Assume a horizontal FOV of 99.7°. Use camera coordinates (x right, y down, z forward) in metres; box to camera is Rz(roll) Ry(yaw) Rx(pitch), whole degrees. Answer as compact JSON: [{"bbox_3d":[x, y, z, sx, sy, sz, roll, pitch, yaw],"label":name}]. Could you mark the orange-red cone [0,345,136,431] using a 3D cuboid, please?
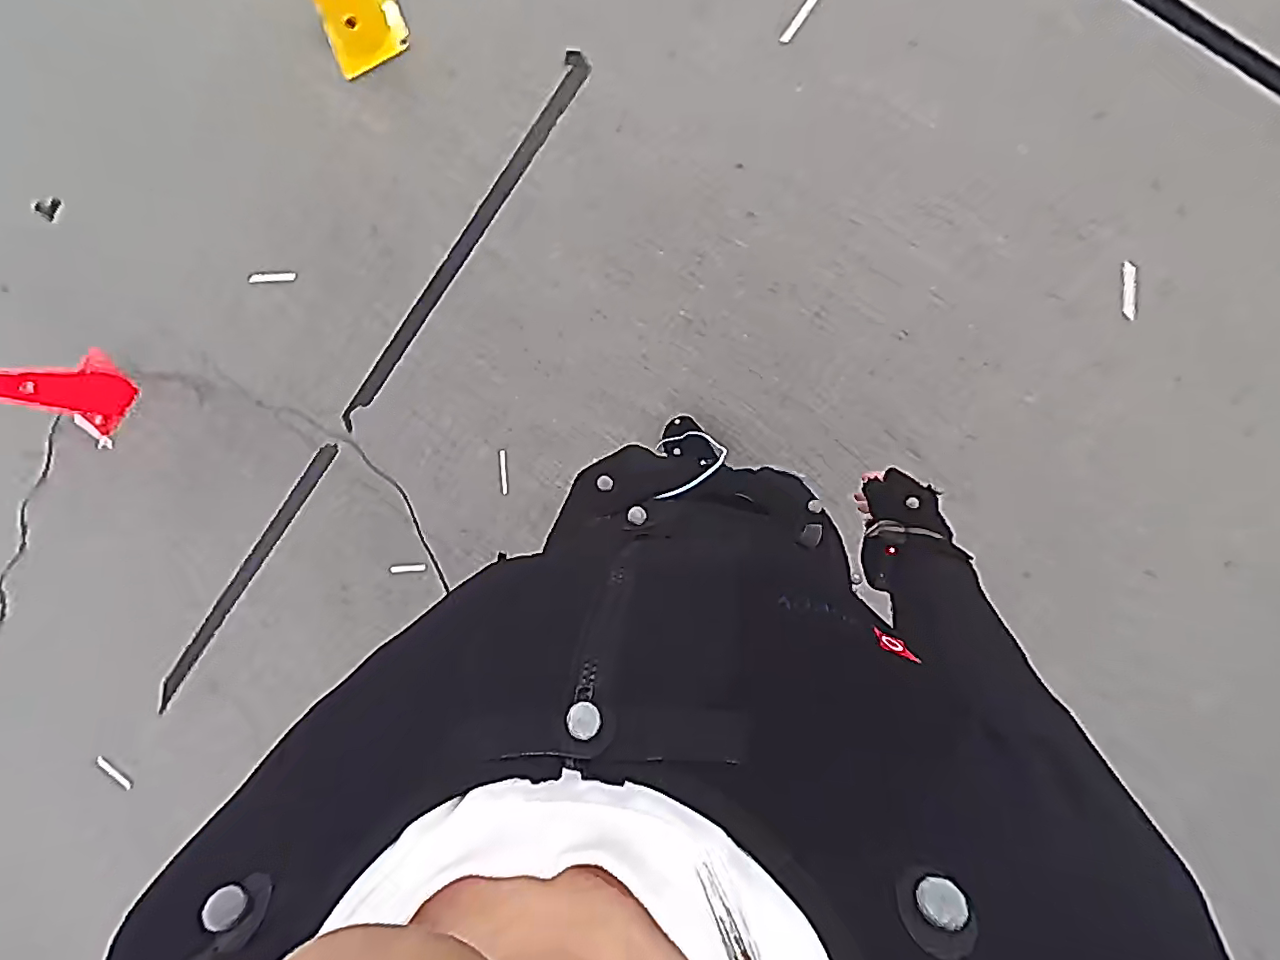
[{"bbox_3d":[-1.625,-0.262,1.434,0.198,0.360,0.199,45,97,2],"label":"orange-red cone"}]
